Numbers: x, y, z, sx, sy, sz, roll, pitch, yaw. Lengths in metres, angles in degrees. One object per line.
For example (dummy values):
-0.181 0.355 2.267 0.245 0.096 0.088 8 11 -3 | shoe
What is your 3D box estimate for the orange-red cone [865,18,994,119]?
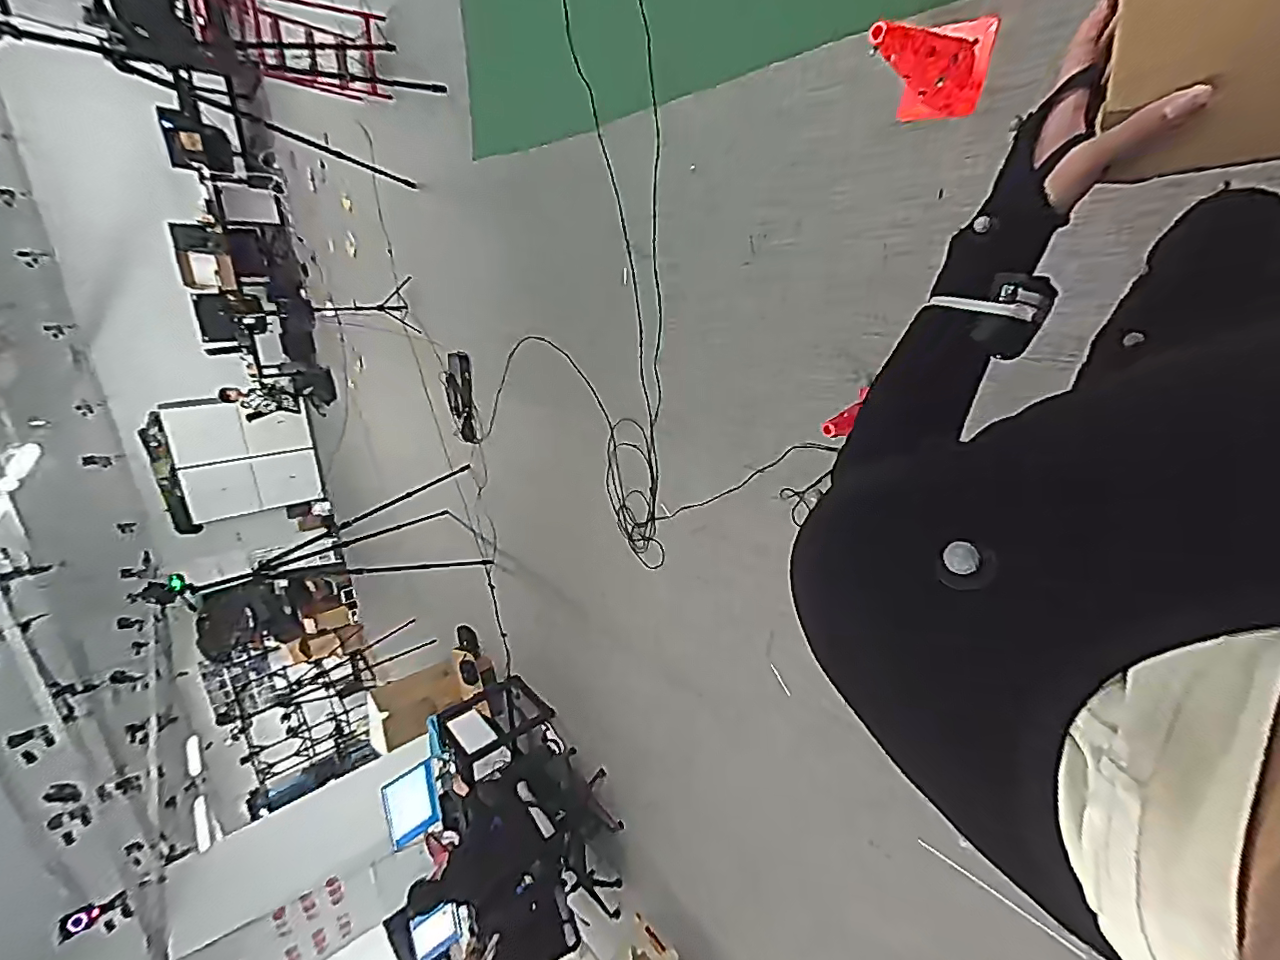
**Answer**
0.628 -0.995 1.257 0.199 0.360 0.198 31 125 42 | orange-red cone
